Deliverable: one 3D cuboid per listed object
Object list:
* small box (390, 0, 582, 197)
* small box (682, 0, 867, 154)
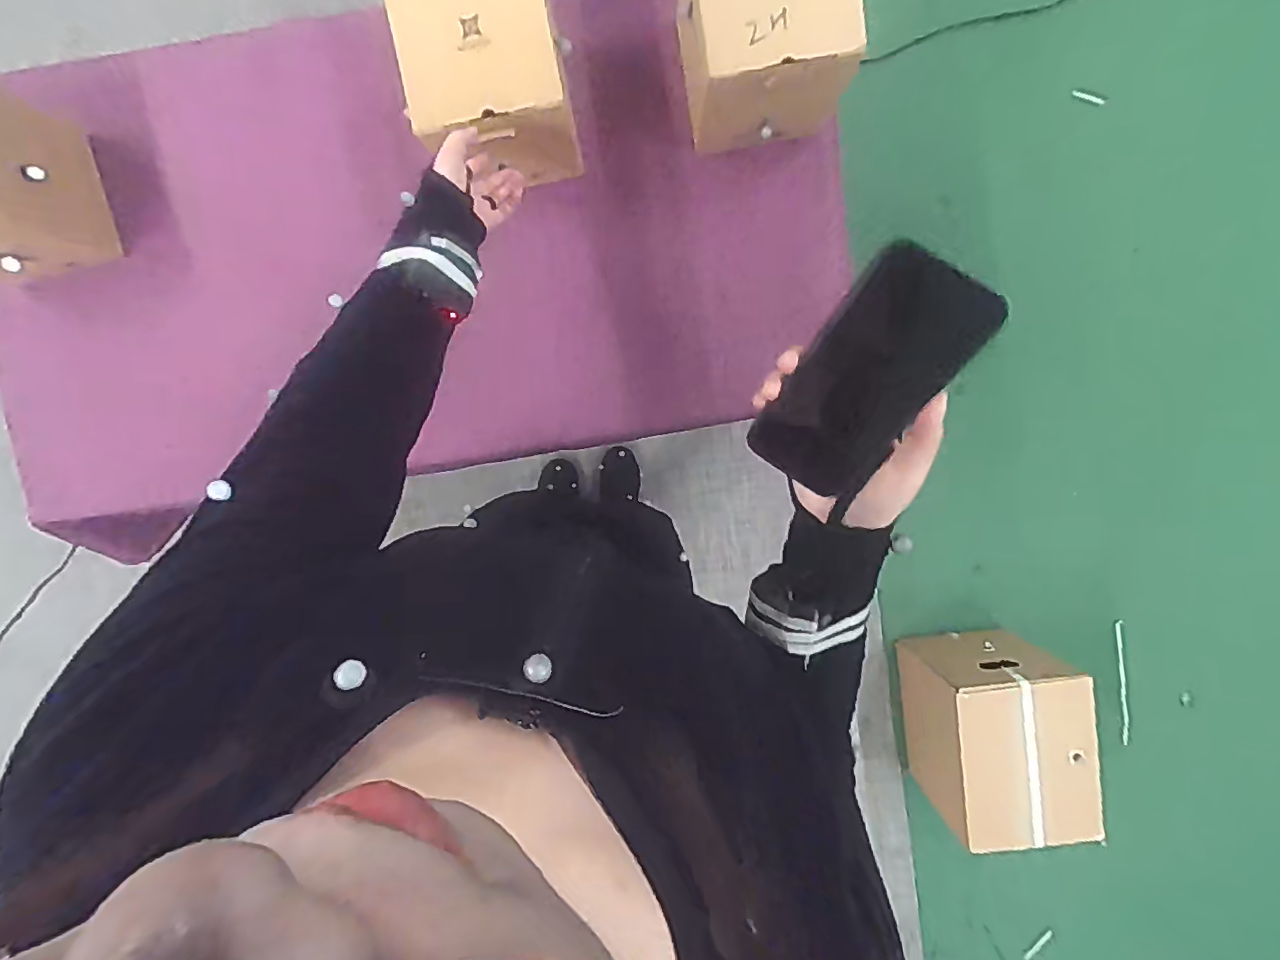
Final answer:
[{"bbox_3d":[-0.171,-0.473,0.644,0.168,0.176,0.179,-11,96,2],"label":"small box"},{"bbox_3d":[0.143,-0.521,0.630,0.168,0.176,0.179,-8,96,3],"label":"small box"}]
